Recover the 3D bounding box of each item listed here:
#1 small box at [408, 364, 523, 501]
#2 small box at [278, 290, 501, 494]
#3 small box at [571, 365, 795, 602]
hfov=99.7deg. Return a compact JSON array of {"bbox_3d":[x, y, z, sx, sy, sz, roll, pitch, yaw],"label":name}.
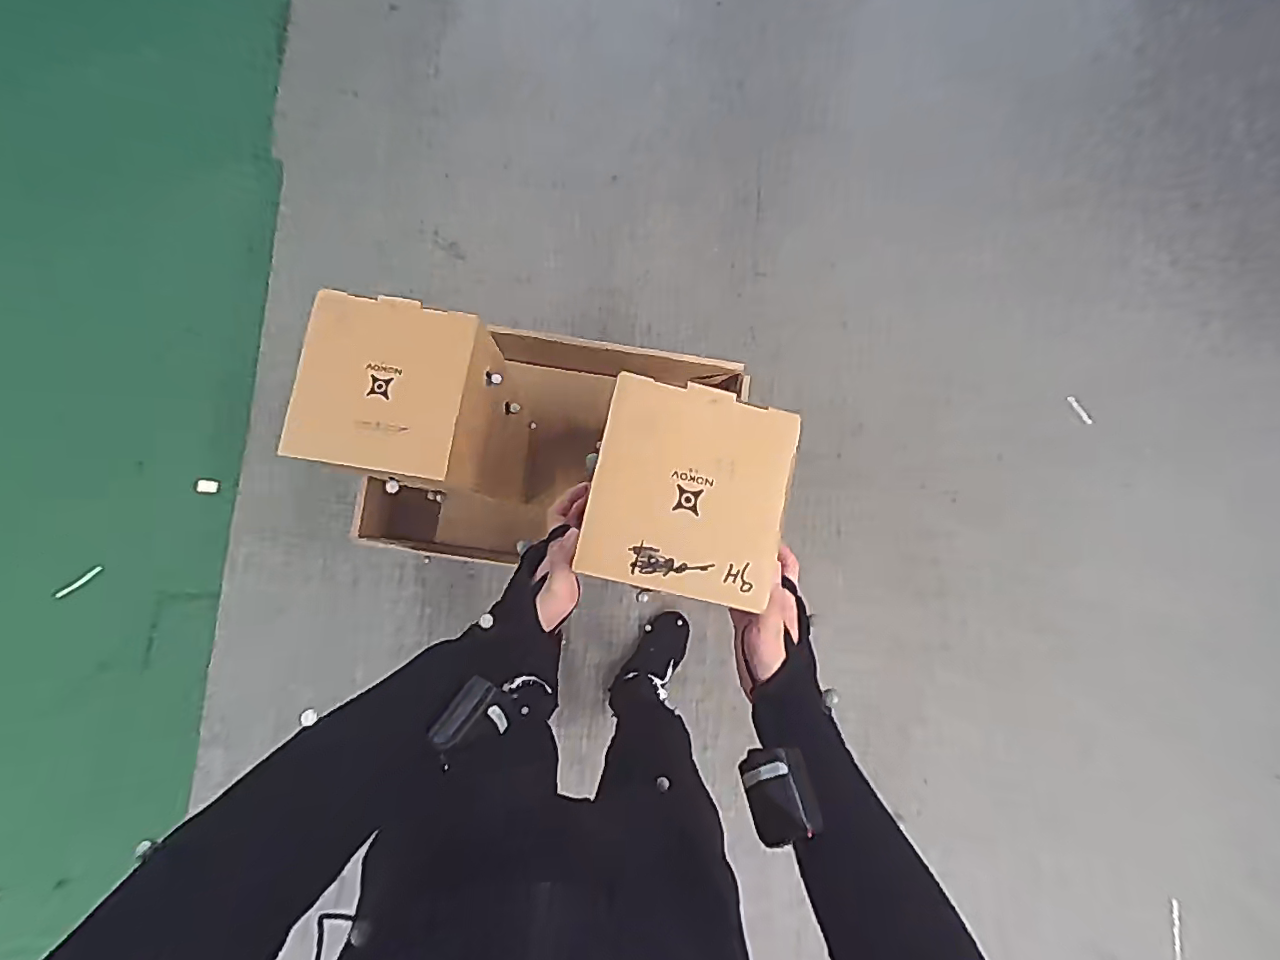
[{"bbox_3d":[-0.274,-0.072,0.782,0.168,0.176,0.179,10,84,-1],"label":"small box"},{"bbox_3d":[-0.266,-0.087,0.621,0.168,0.176,0.179,9,84,-2],"label":"small box"},{"bbox_3d":[0.034,0.013,0.530,0.168,0.176,0.179,11,81,-1],"label":"small box"}]
